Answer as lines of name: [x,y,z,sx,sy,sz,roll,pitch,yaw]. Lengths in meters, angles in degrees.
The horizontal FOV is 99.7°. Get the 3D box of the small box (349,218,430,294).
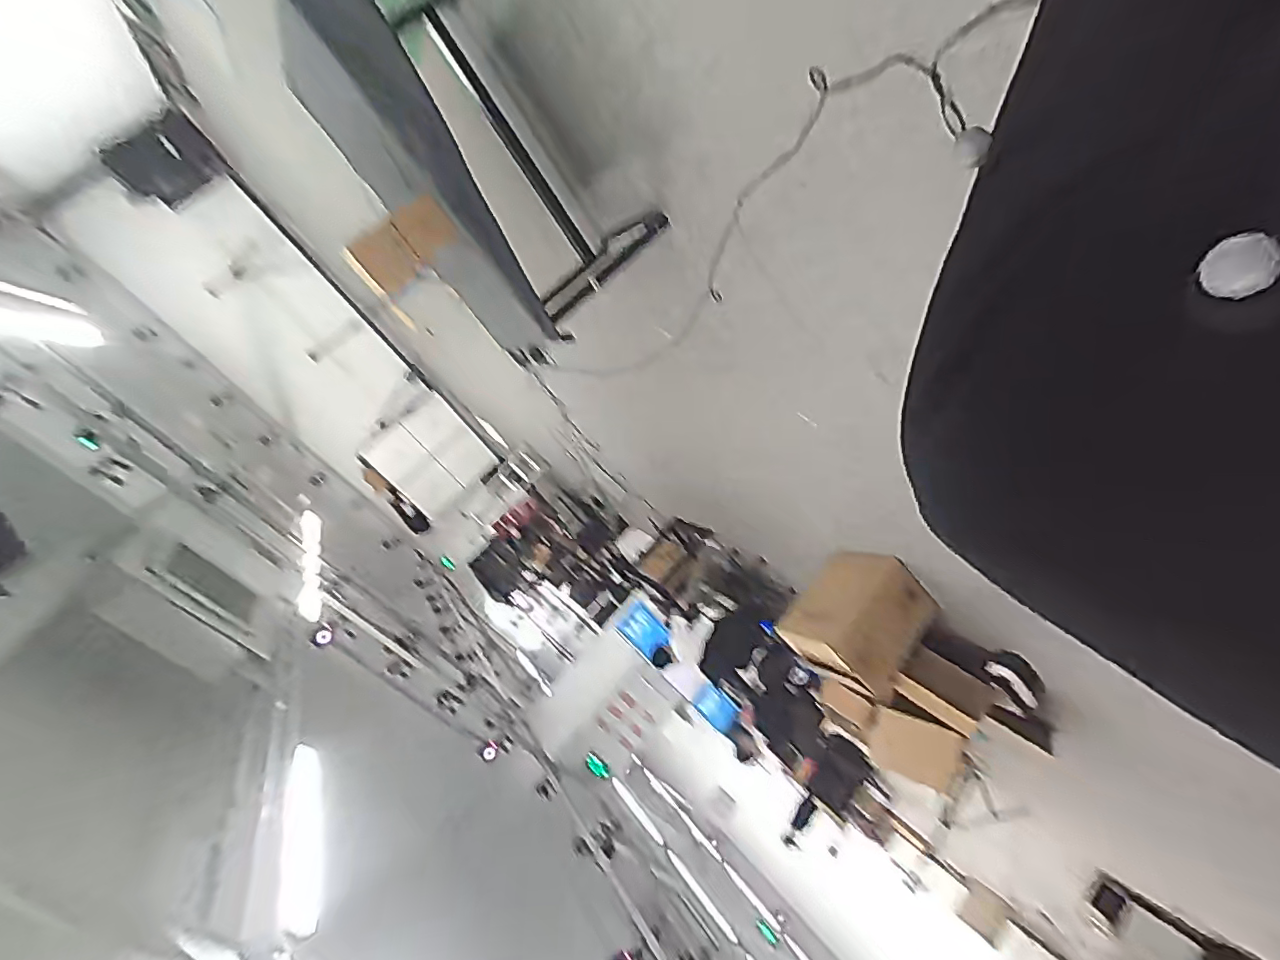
small box: [-0.848,-0.762,1.833,0.179,0.176,0.168,53,163,-29]

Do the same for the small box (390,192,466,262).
small box: [-0.742,-0.875,1.878,0.168,0.176,0.179,26,156,55]
